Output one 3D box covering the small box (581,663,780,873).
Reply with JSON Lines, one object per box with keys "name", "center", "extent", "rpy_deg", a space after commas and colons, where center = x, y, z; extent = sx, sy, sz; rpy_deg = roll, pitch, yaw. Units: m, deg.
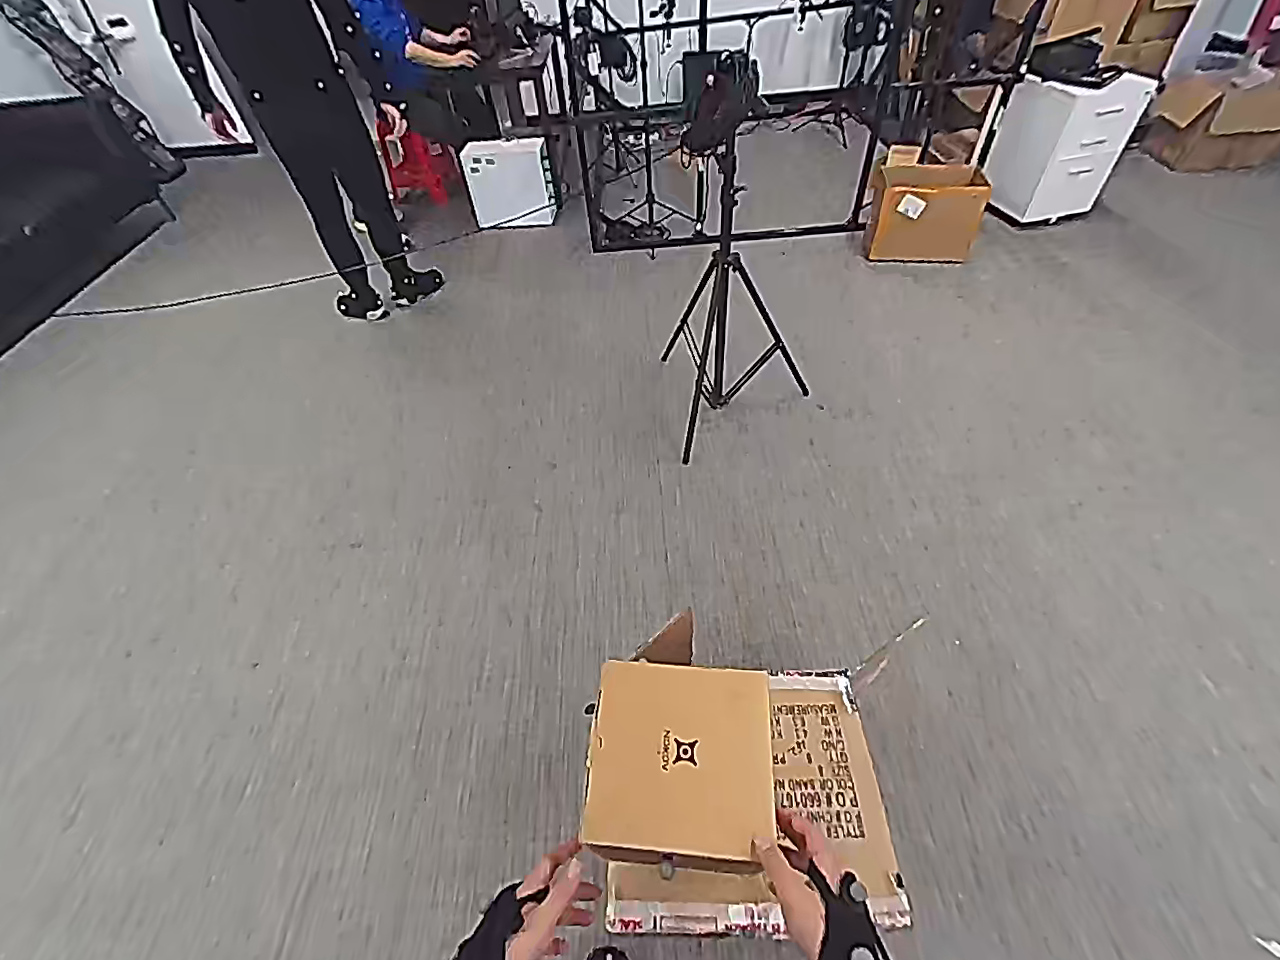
{"name": "small box", "center": [0.047, 0.312, 0.581], "extent": [0.179, 0.176, 0.168], "rpy_deg": [1, 51, 7]}
